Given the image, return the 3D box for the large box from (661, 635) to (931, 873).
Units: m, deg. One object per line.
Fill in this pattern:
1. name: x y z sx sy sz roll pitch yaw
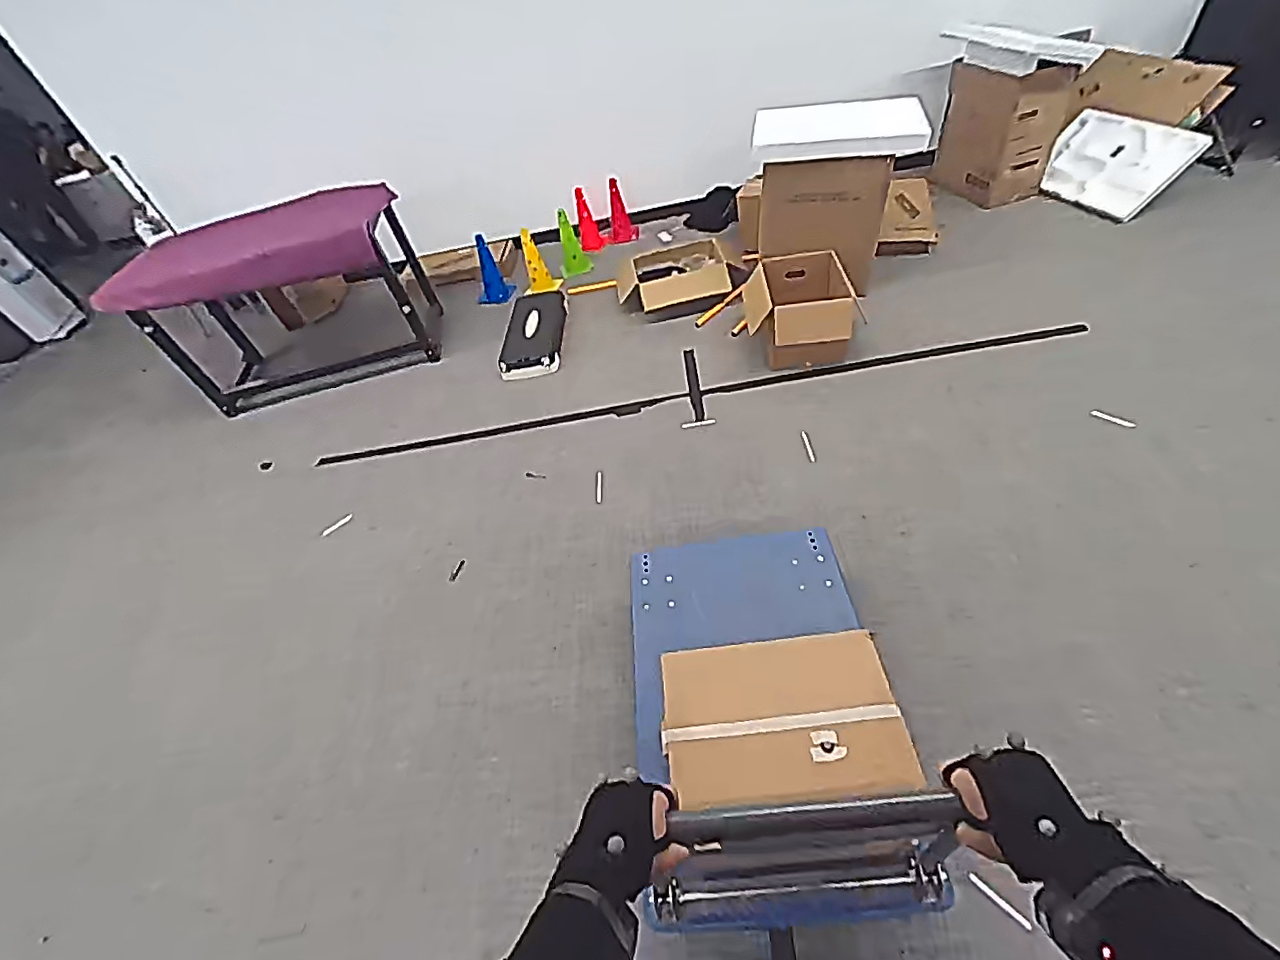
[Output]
1. large box: 0.265 0.534 1.047 0.408 0.320 0.320 -8 47 5
